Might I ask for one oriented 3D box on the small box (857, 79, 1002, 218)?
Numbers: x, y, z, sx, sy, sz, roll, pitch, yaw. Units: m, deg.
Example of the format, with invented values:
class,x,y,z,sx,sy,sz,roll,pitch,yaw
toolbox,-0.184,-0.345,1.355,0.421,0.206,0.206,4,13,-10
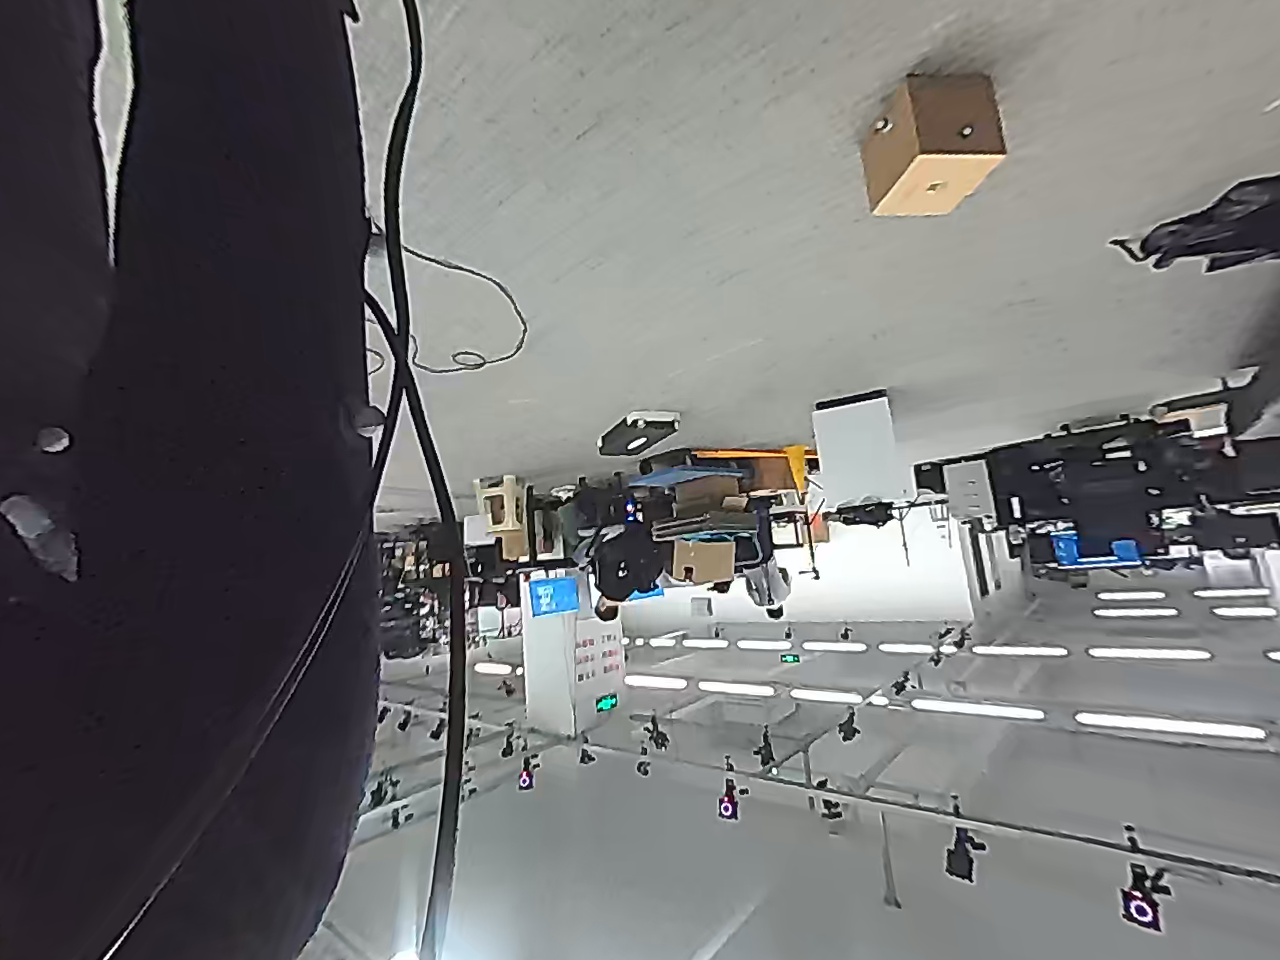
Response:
class,x,y,z,sx,sy,sz,roll,pitch,yaw
small box,0.548,-0.635,1.045,0.179,0.176,0.168,-4,170,-7
